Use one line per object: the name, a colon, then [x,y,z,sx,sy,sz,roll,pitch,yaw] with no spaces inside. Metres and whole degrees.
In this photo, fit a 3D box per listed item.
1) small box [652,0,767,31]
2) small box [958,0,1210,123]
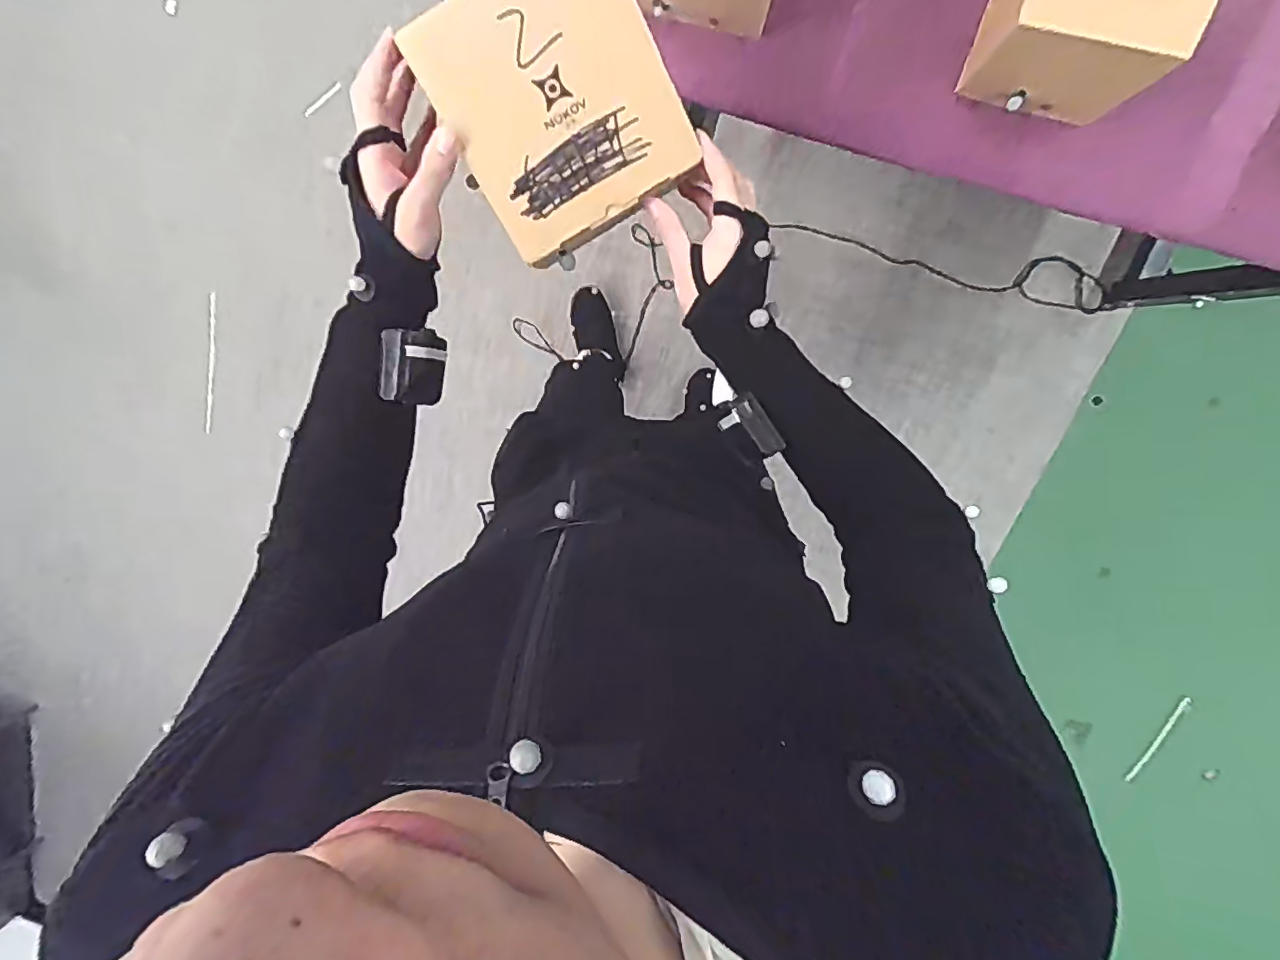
small box: [0.085,-0.661,0.610,0.168,0.176,0.179,19,106,5]
small box: [0.477,-0.525,0.576,0.168,0.176,0.179,19,107,6]
